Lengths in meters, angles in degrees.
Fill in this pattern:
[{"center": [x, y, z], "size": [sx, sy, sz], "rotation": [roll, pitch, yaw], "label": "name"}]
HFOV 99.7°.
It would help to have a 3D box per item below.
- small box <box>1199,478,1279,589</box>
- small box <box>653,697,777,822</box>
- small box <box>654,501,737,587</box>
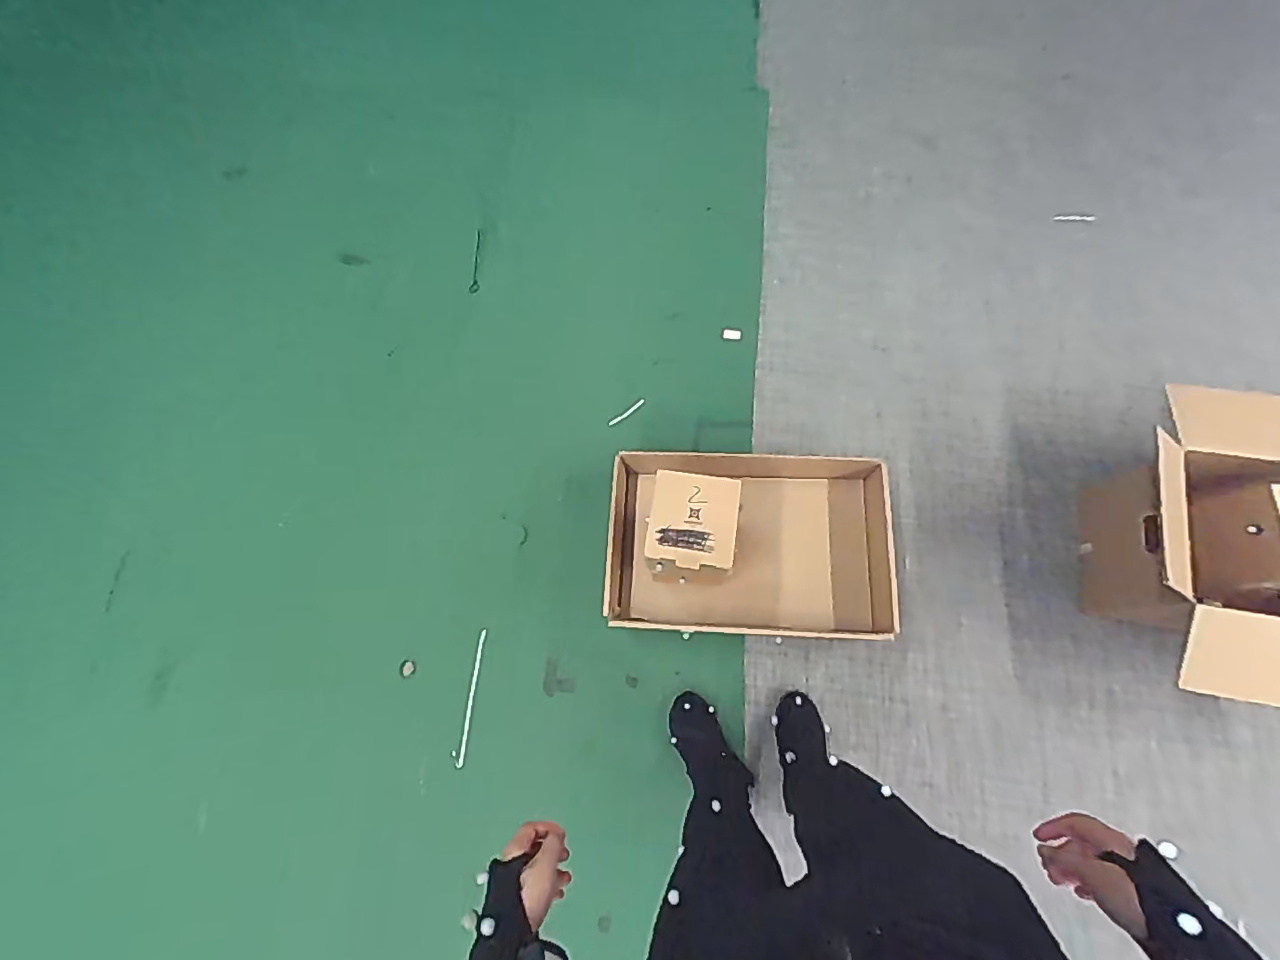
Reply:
[{"center": [1.226, 0.106, 1.021], "size": [0.168, 0.176, 0.179], "rotation": [1, 73, 8], "label": "small box"}, {"center": [0.164, 0.585, 1.148], "size": [0.176, 0.168, 0.179], "rotation": [39, 54, -15], "label": "small box"}, {"center": [0.128, 0.152, 1.250], "size": [0.179, 0.176, 0.168], "rotation": [3, 72, 5], "label": "small box"}]
